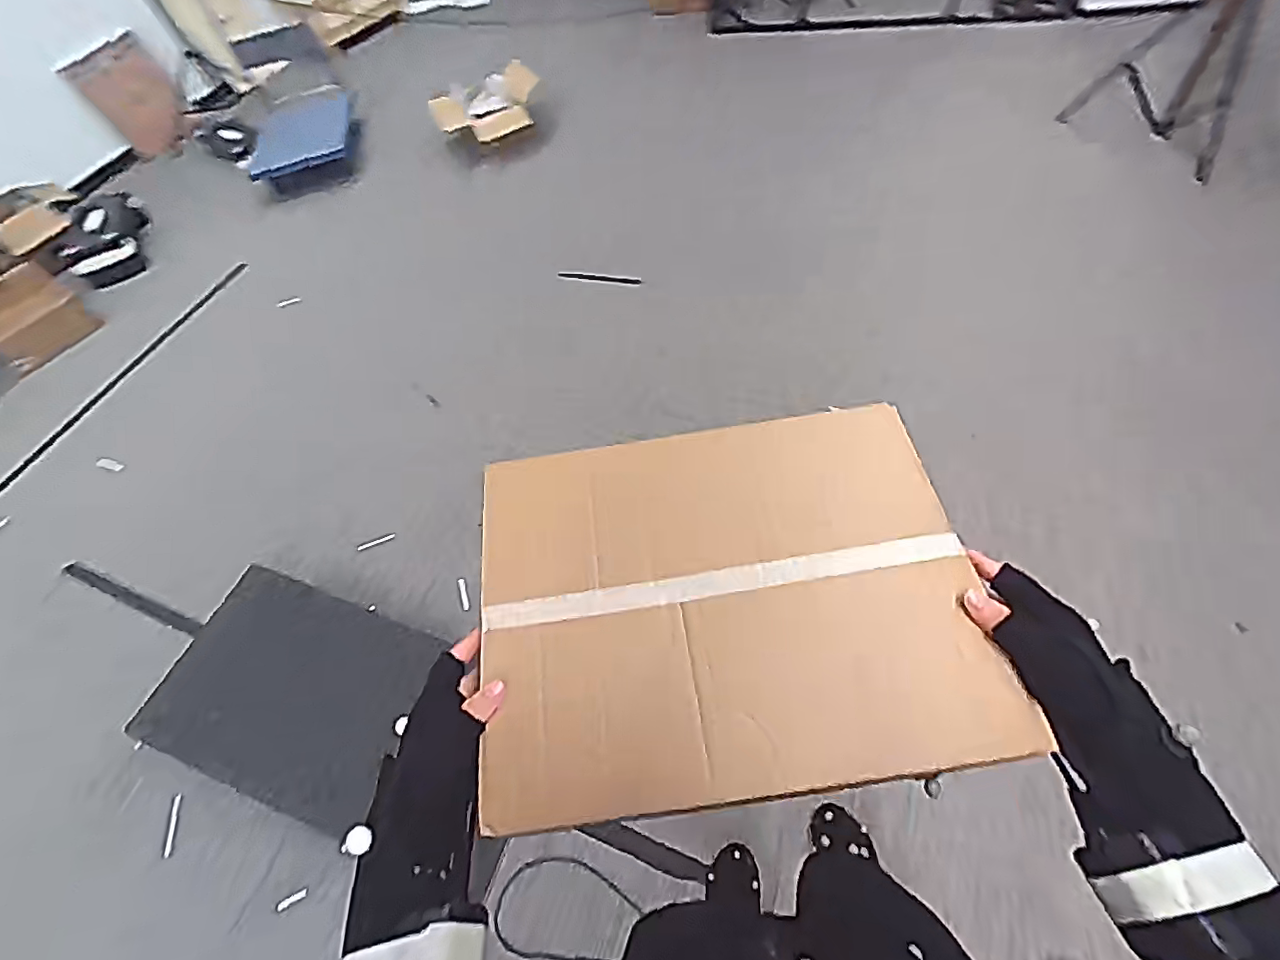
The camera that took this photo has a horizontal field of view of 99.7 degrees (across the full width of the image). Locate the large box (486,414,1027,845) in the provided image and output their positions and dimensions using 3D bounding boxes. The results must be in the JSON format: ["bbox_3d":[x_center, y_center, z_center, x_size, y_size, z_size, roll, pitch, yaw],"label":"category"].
[{"bbox_3d":[0.078,0.170,0.590,0.408,0.320,0.320,-9,58,0],"label":"large box"}]

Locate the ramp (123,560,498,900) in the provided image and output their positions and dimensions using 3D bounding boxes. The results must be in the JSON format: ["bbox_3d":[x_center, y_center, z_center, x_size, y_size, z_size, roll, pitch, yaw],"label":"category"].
[{"bbox_3d":[-0.752,0.590,1.400,0.991,0.206,0.509,13,59,17],"label":"ramp"}]
